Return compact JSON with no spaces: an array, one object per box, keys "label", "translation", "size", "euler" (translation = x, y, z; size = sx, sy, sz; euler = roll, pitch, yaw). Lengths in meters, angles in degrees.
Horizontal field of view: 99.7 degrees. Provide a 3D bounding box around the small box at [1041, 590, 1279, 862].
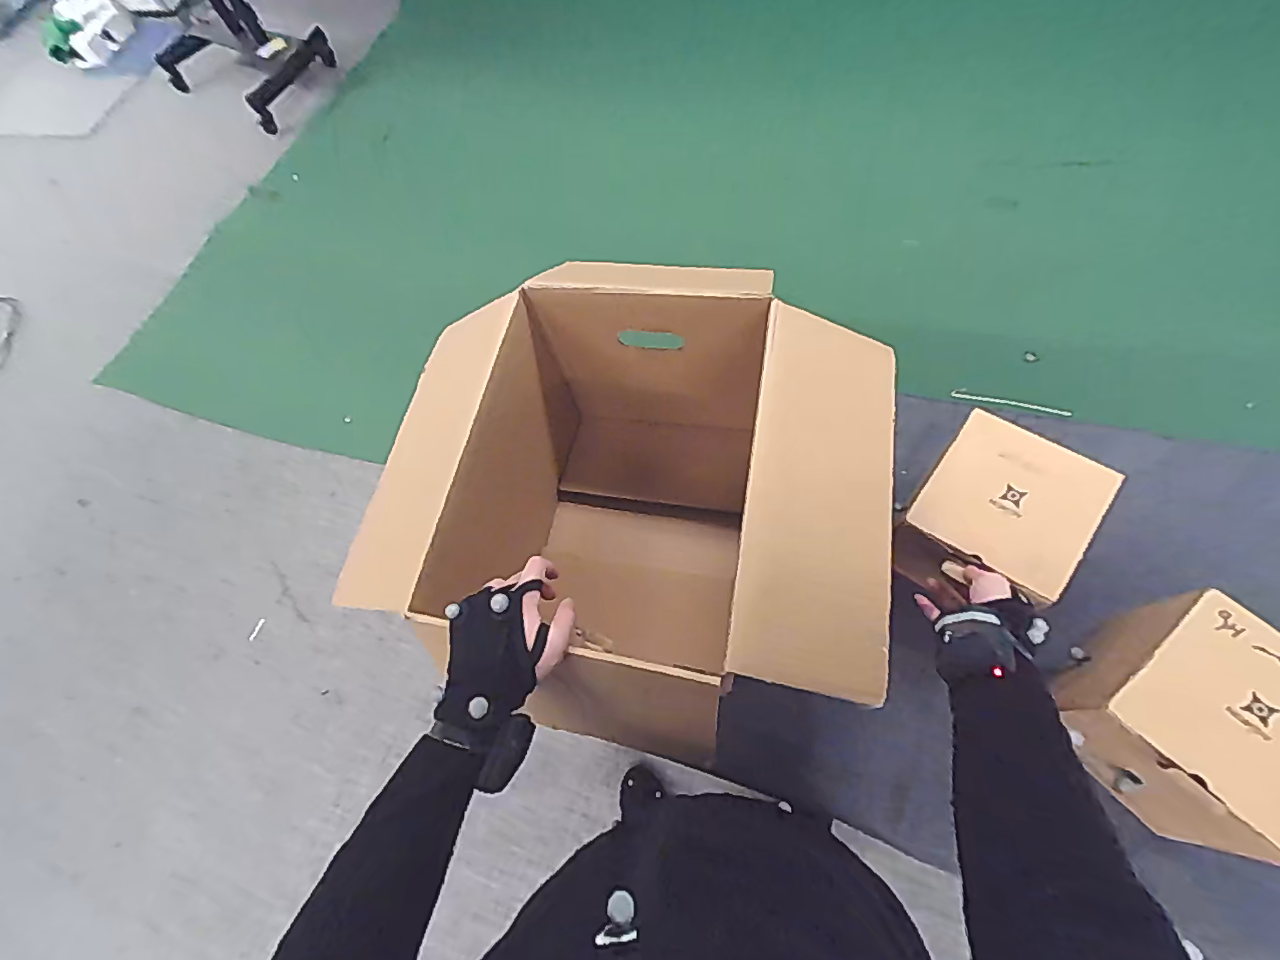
[{"label":"small box","translation":[0.573,0.248,0.568],"size":[0.179,0.176,0.168],"euler":[-40,65,-8]}]
